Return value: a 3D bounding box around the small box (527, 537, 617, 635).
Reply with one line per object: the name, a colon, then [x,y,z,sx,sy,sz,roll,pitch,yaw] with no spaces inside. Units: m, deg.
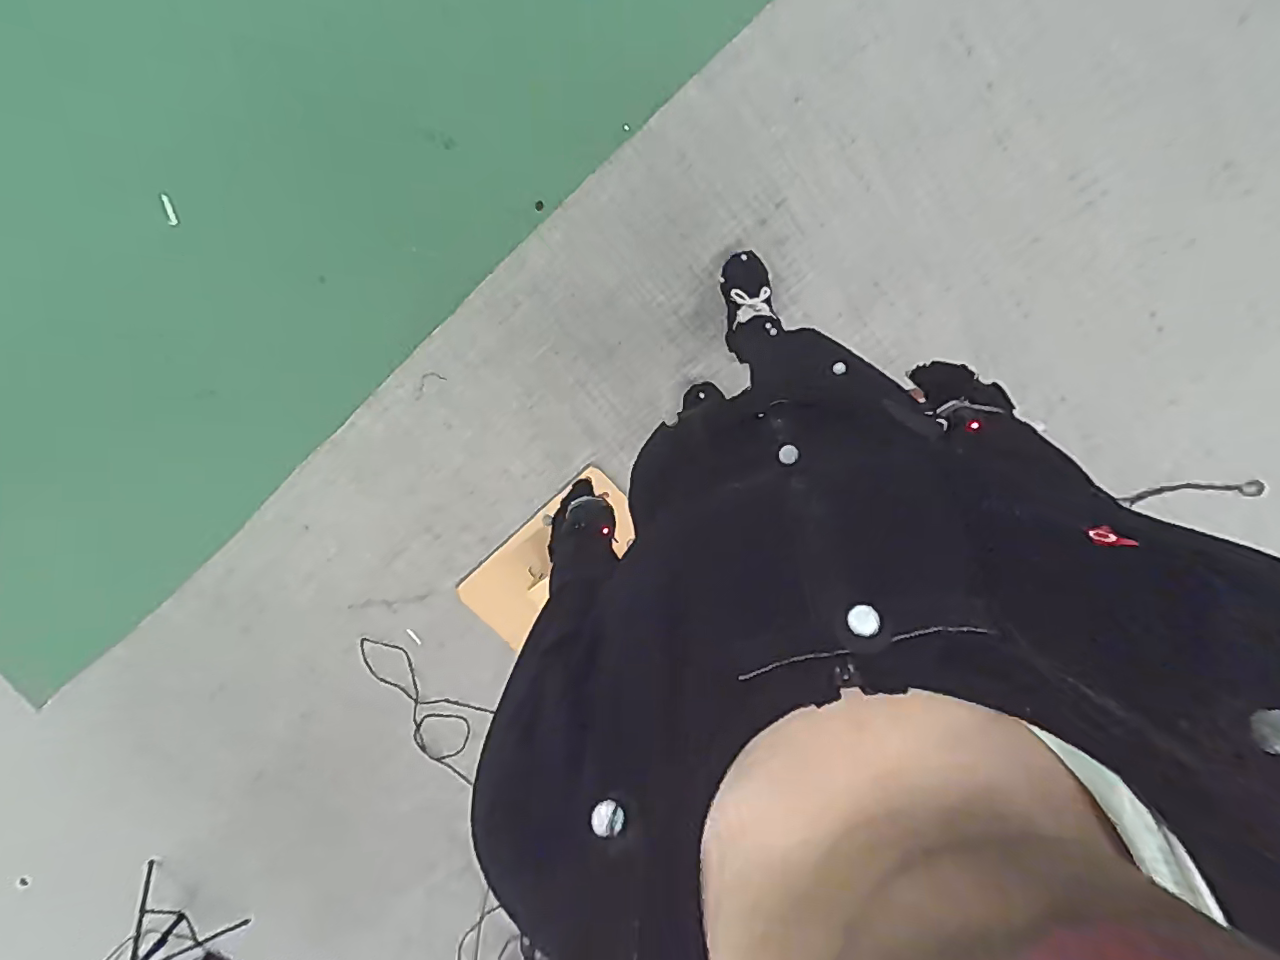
small box: [-0.182,0.290,1.510,0.179,0.176,0.168,-37,100,13]
